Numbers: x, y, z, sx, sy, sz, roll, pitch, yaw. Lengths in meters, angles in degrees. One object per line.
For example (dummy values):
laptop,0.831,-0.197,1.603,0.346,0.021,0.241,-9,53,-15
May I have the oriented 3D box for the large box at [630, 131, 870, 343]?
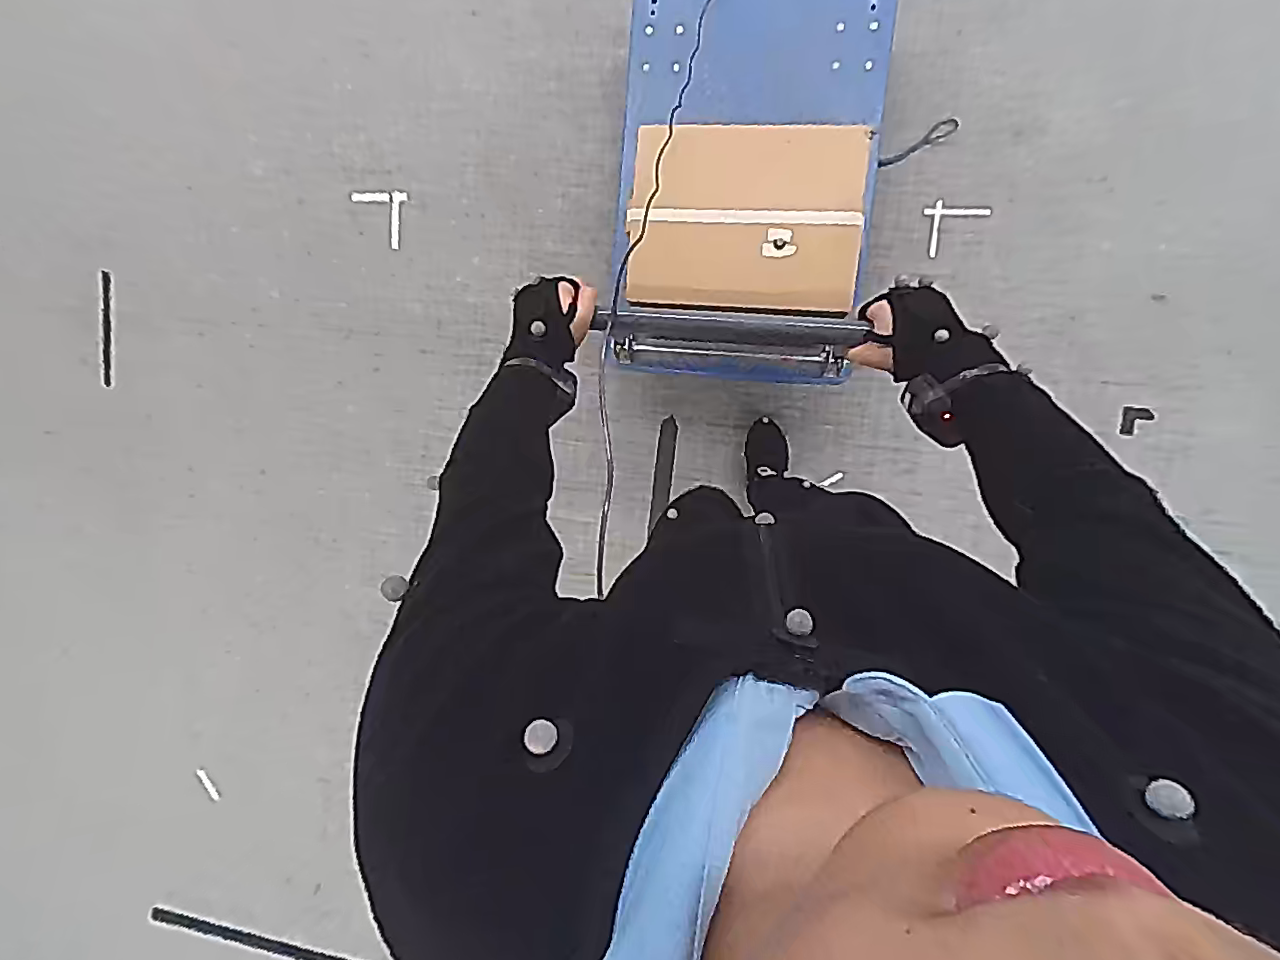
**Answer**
large box,0.204,-0.469,1.105,0.408,0.320,0.320,6,96,7
